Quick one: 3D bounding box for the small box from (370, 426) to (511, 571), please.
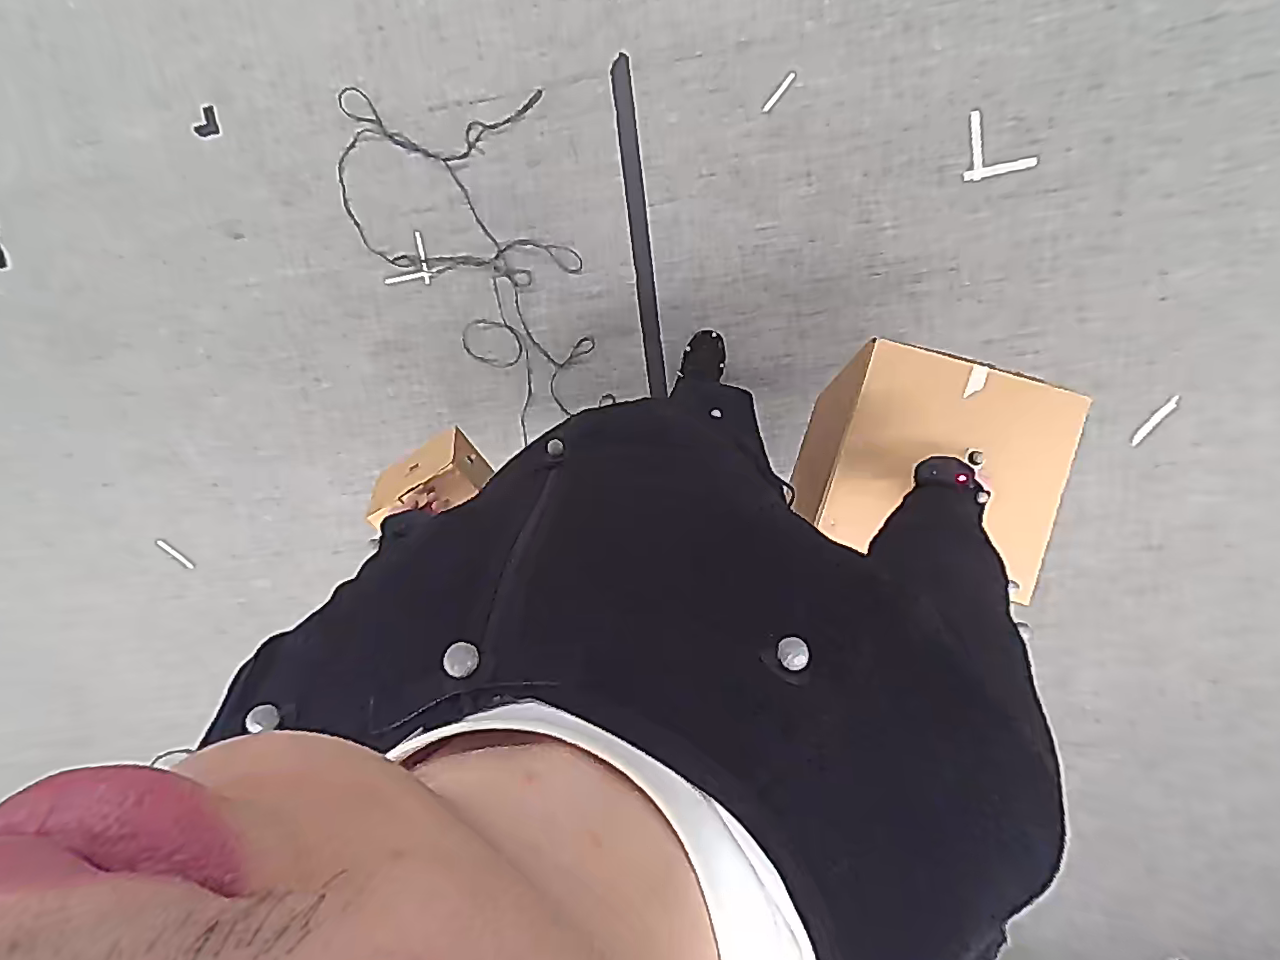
[{"bbox_3d":[-0.346,0.039,0.969,0.168,0.179,0.176,-32,121,0],"label":"small box"}]
